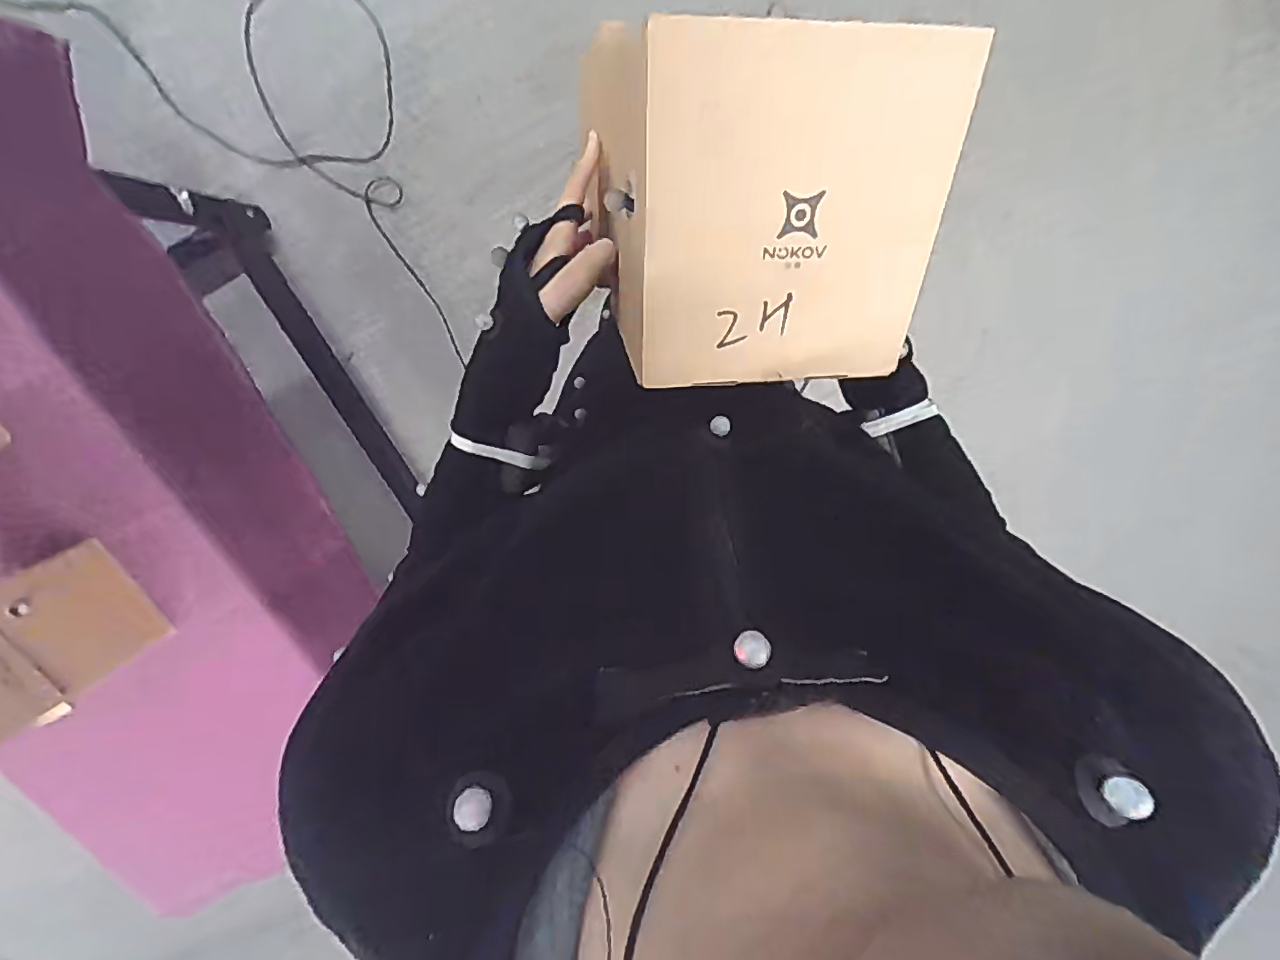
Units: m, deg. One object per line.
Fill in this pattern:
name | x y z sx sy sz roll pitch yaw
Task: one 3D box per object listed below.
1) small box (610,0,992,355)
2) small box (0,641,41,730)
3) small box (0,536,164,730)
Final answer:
small box | 0.069 -0.194 0.348 0.168 0.176 0.179 -3 124 -7
small box | -0.821 0.250 0.573 0.179 0.176 0.168 -25 105 9
small box | -0.818 0.204 0.729 0.168 0.176 0.179 -24 106 8
